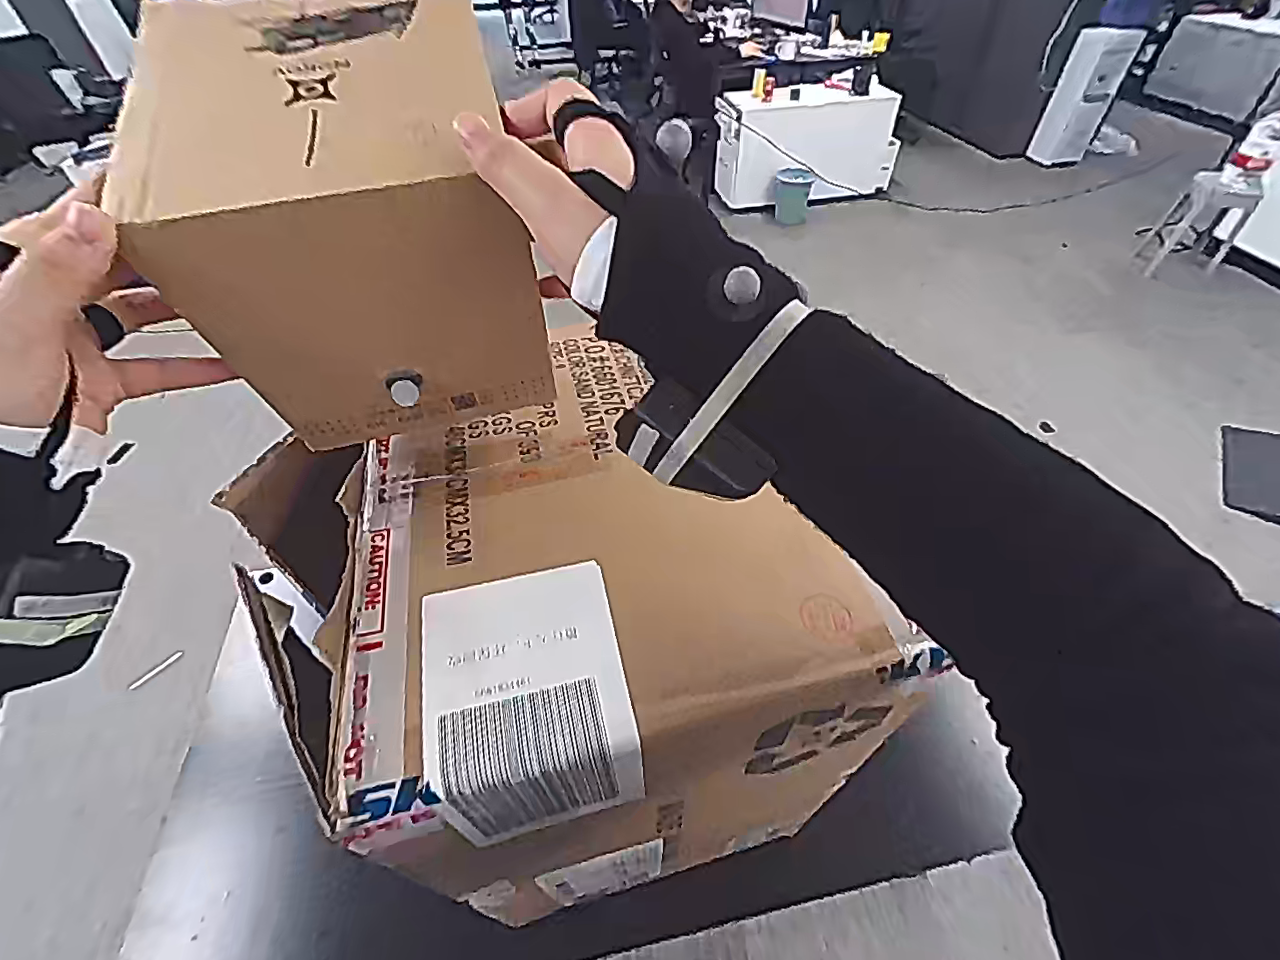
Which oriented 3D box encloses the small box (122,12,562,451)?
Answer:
[{"bbox_3d":[-0.150,-0.145,0.335,0.168,0.176,0.179,-13,62,-8],"label":"small box"}]
